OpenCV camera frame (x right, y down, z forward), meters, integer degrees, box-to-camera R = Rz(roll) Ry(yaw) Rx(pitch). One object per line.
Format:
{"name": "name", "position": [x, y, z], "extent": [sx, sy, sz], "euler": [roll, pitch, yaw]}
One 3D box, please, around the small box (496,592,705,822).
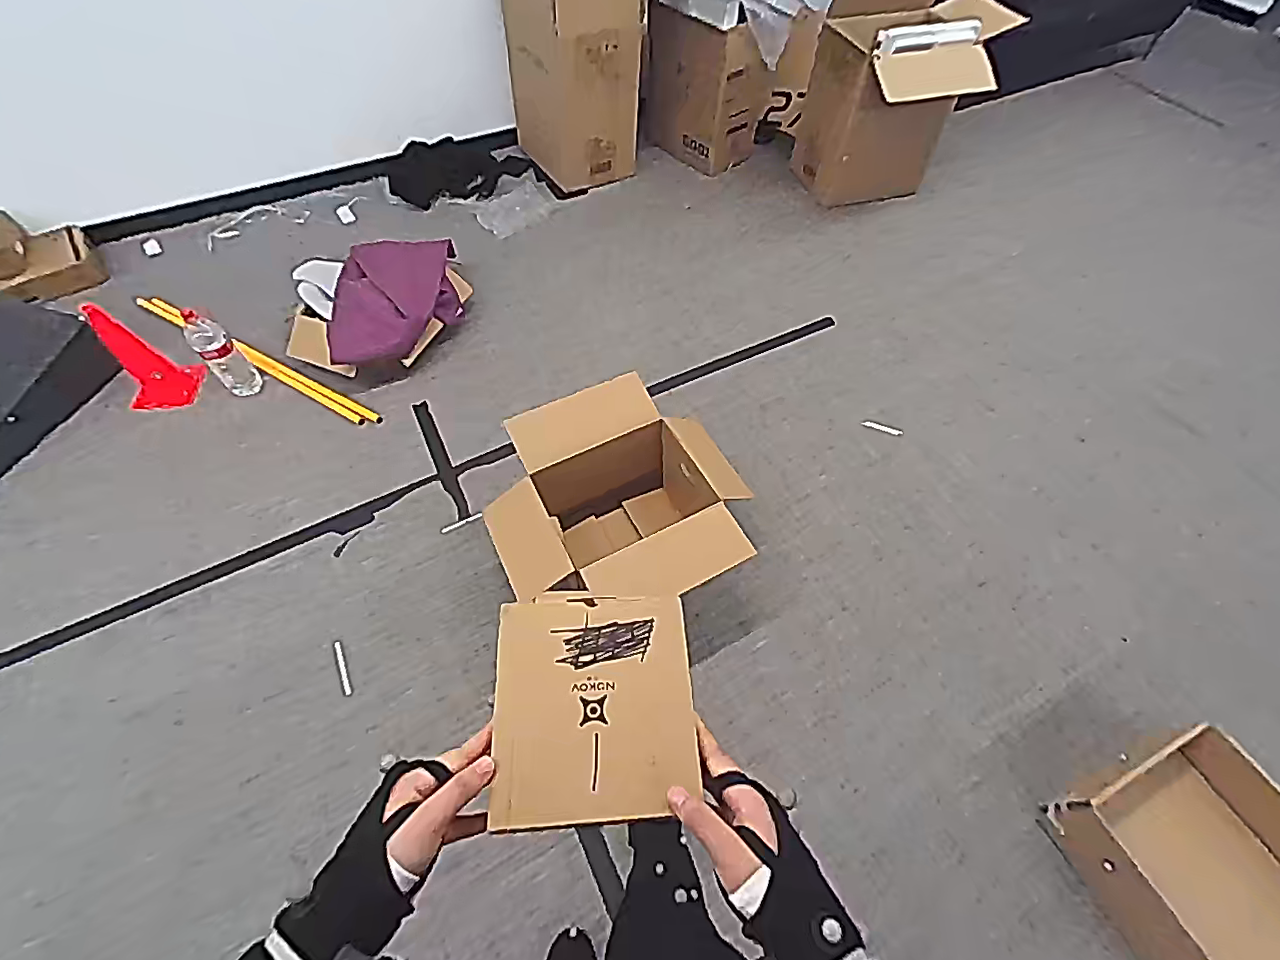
{"name": "small box", "position": [-0.042, 0.225, 0.530], "extent": [0.168, 0.176, 0.179], "euler": [-2, 57, -6]}
